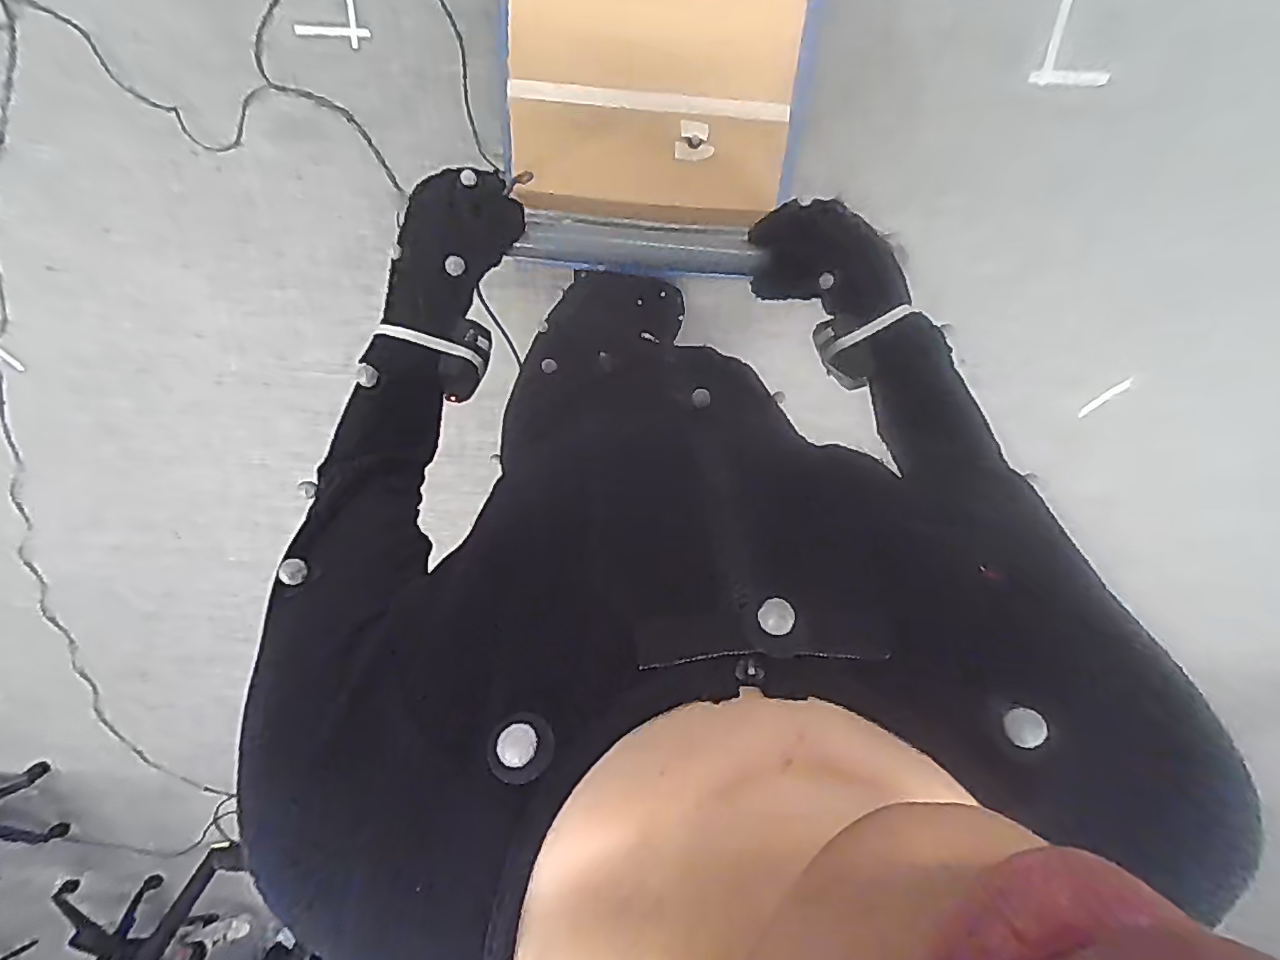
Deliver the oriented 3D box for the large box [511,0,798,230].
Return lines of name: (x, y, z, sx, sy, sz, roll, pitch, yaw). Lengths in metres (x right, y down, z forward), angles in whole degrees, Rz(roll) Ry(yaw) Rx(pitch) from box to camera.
large box: (0.007, -0.614, 0.929, 0.408, 0.320, 0.320, 3, 114, -4)
